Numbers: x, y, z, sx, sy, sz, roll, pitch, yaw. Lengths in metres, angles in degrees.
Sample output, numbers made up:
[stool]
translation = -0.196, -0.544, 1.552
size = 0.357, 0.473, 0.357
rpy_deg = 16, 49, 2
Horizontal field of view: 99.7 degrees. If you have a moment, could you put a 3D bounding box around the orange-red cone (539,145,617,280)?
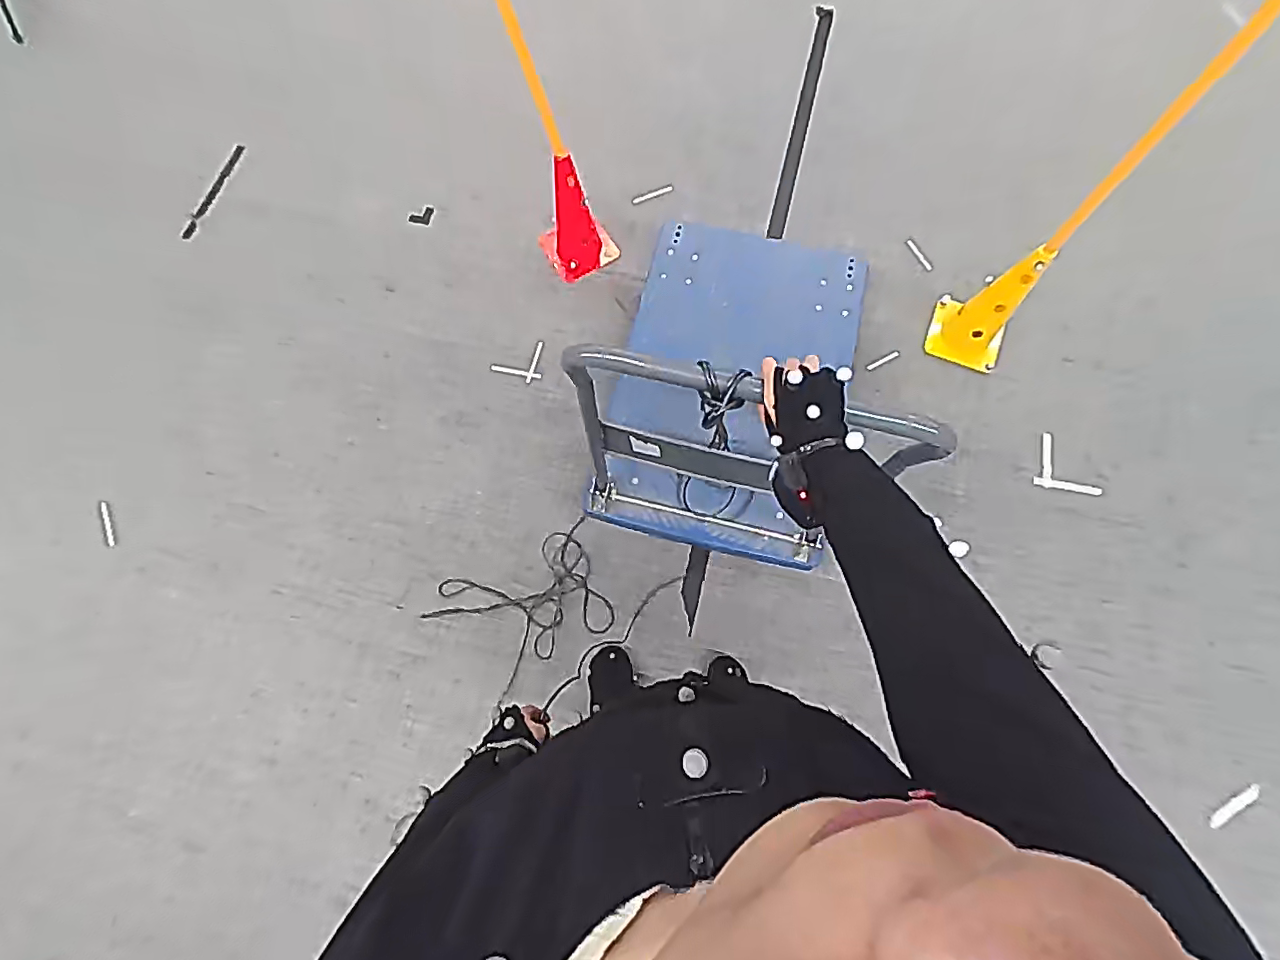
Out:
[orange-red cone]
translation = -0.196, -0.781, 1.530
size = 0.199, 0.360, 0.198
rpy_deg = -30, 76, -9
